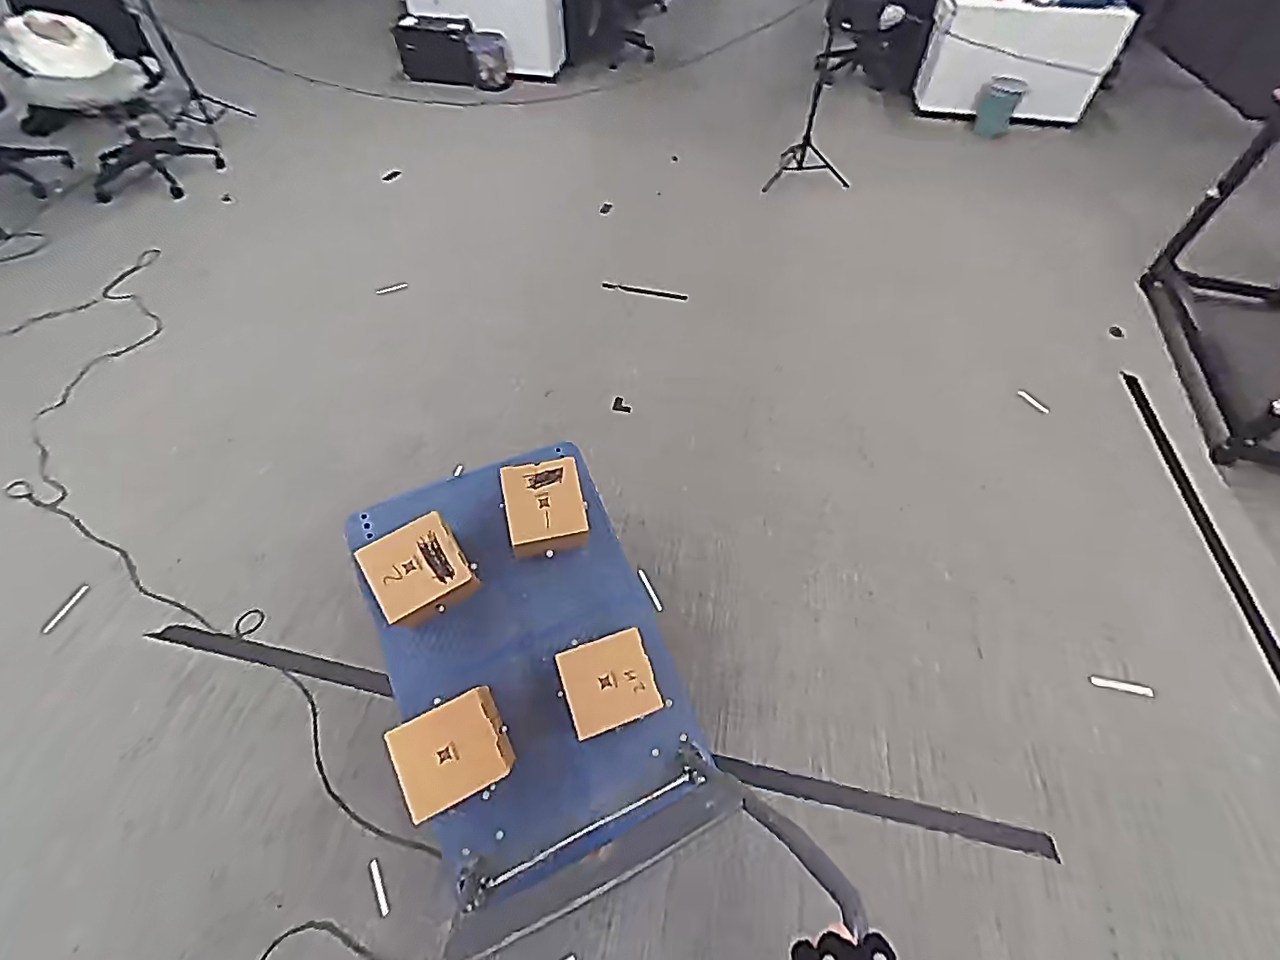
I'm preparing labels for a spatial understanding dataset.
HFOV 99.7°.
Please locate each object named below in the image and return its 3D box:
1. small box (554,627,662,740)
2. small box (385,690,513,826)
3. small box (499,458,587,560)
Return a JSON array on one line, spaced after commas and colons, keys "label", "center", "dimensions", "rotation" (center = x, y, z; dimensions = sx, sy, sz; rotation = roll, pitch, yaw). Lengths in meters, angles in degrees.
[{"label": "small box", "center": [-0.072, 0.422, 1.131], "dimensions": [0.179, 0.176, 0.168], "rotation": [-16, 74, -14]}, {"label": "small box", "center": [-0.360, 0.526, 1.048], "dimensions": [0.179, 0.176, 0.168], "rotation": [-24, 76, -18]}, {"label": "small box", "center": [-0.223, 0.070, 1.232], "dimensions": [0.168, 0.176, 0.179], "rotation": [-11, 74, -13]}]
